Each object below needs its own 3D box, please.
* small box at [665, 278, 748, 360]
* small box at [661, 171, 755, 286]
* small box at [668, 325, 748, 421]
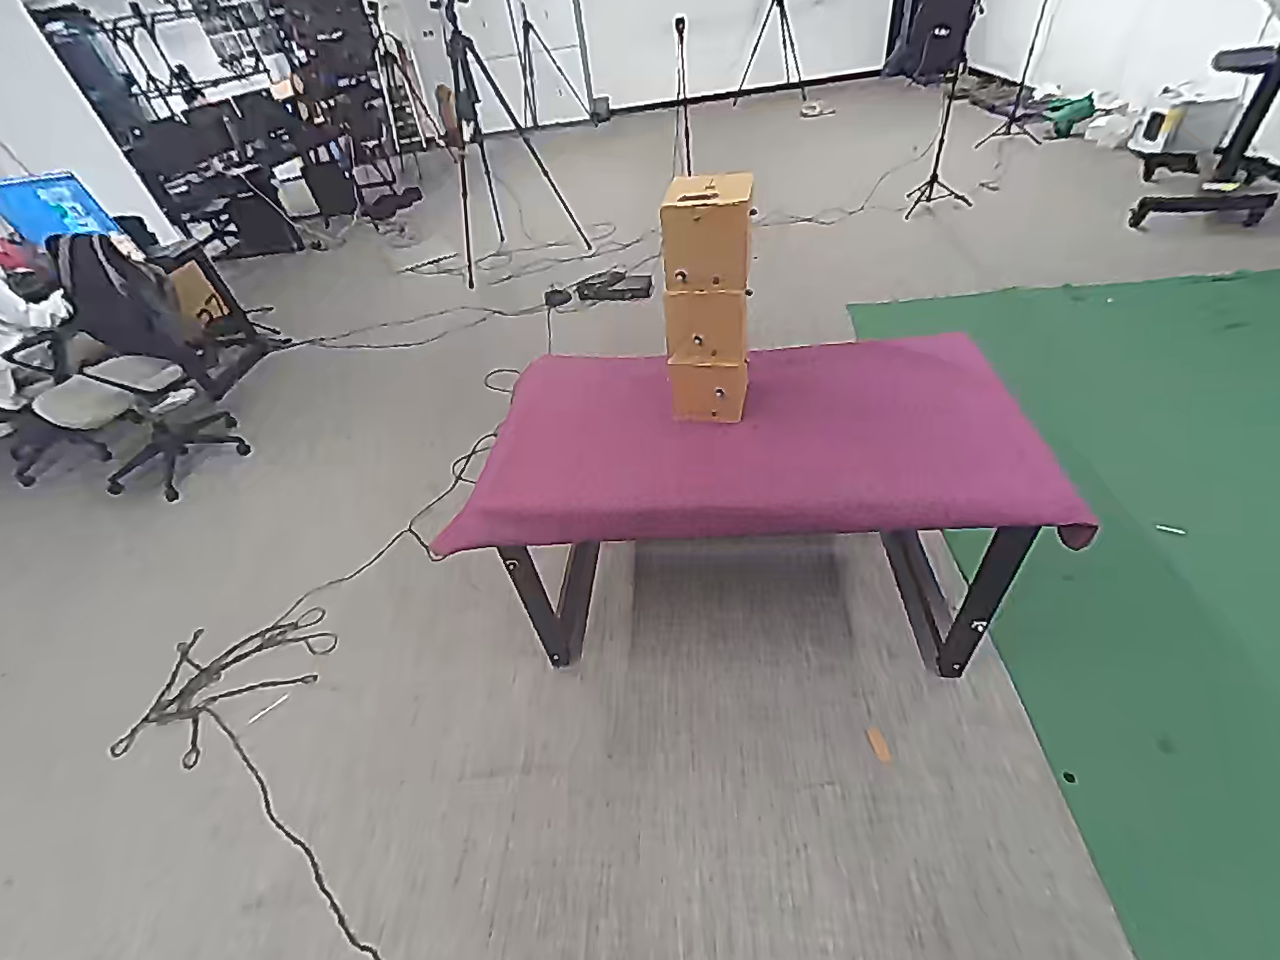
[{"bbox_3d":[0.154,-0.385,1.212,0.168,0.176,0.179,3,45,12],"label":"small box"},{"bbox_3d":[0.144,-0.508,1.104,0.168,0.176,0.179,4,45,13],"label":"small box"},{"bbox_3d":[0.172,-0.260,1.314,0.168,0.176,0.179,5,44,15],"label":"small box"}]
